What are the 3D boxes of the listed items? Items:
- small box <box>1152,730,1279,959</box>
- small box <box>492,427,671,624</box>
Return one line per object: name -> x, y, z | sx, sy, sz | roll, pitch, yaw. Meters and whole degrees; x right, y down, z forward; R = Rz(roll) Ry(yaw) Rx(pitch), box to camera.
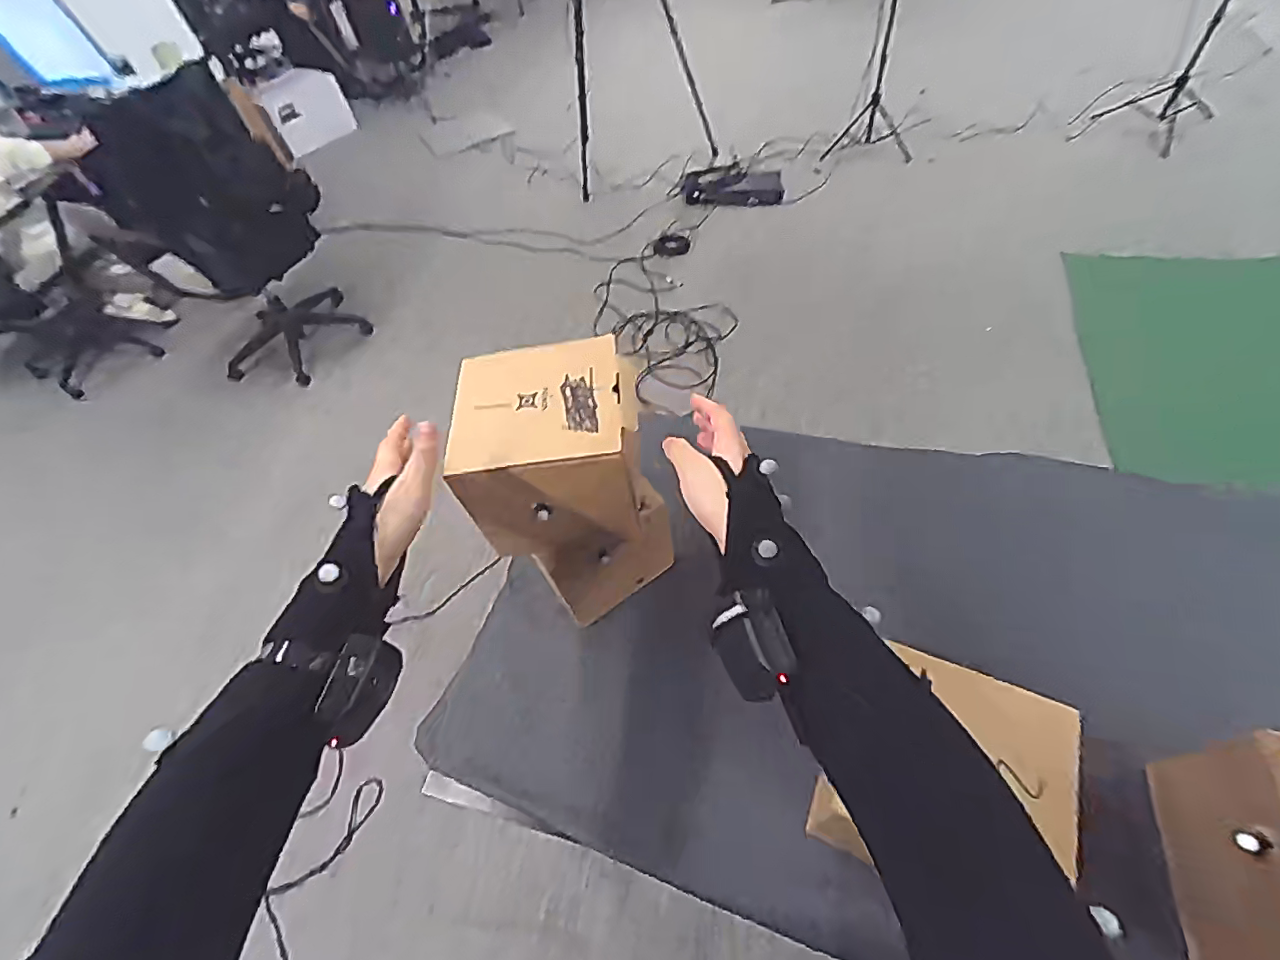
small box -> 0.574, 0.333, 0.439 | 0.168, 0.176, 0.179 | 8, 55, 17
small box -> -0.074, 0.066, 0.750 | 0.168, 0.176, 0.179 | -33, 55, -15
